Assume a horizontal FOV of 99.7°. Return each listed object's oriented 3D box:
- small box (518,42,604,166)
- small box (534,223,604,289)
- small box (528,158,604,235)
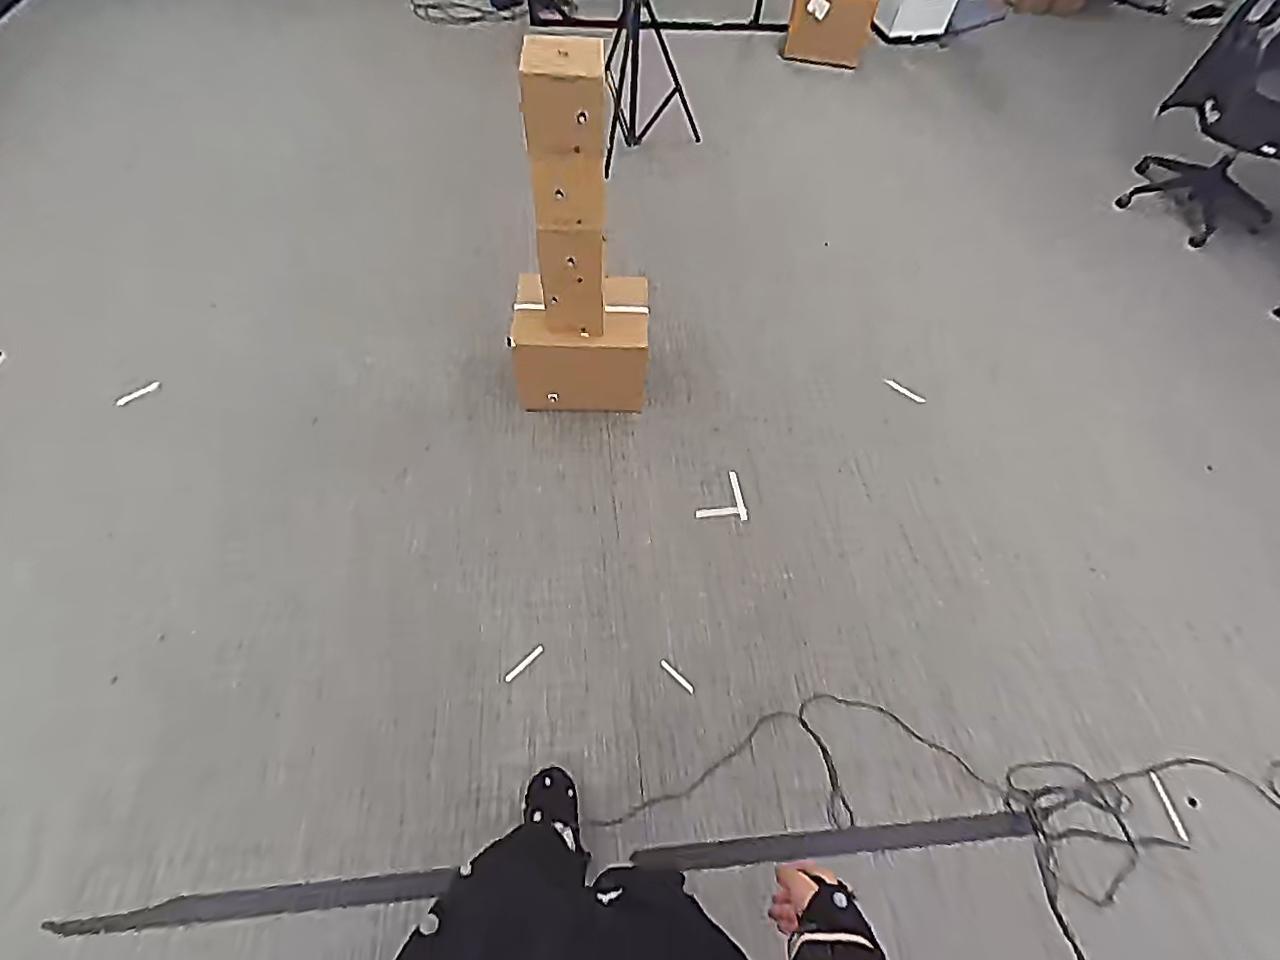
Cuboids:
[{"bbox_3d":[-0.161,-0.797,1.152,0.168,0.176,0.179,-1,57,-5],"label":"small box"},{"bbox_3d":[-0.181,-0.626,1.428,0.168,0.176,0.179,1,59,-3],"label":"small box"},{"bbox_3d":[-0.169,-0.708,1.288,0.168,0.176,0.179,-1,58,-4],"label":"small box"}]
